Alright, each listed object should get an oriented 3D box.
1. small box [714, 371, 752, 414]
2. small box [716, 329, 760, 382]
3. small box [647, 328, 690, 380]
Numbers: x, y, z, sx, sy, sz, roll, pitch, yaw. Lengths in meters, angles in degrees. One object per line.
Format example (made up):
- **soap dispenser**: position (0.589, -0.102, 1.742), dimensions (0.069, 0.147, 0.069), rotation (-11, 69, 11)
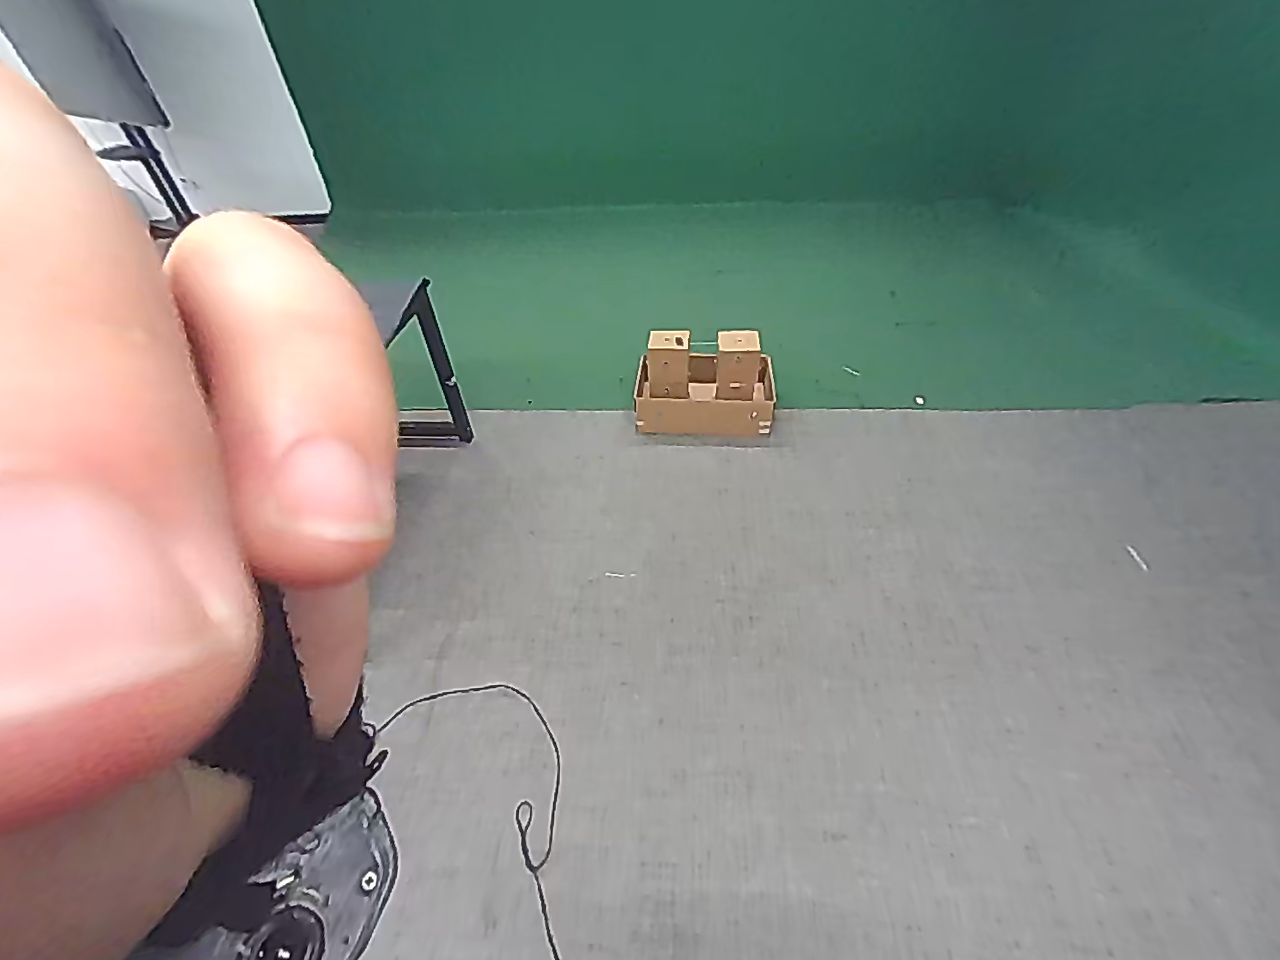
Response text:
- **small box**: position (0.424, -0.417, 2.463), dimensions (0.168, 0.176, 0.179), rotation (3, 44, 7)
- **small box**: position (0.422, -0.541, 2.357), dimensions (0.179, 0.176, 0.168), rotation (1, 45, 5)
- **small box**: position (0.125, -0.552, 2.381), dimensions (0.179, 0.176, 0.168), rotation (3, 43, 6)
